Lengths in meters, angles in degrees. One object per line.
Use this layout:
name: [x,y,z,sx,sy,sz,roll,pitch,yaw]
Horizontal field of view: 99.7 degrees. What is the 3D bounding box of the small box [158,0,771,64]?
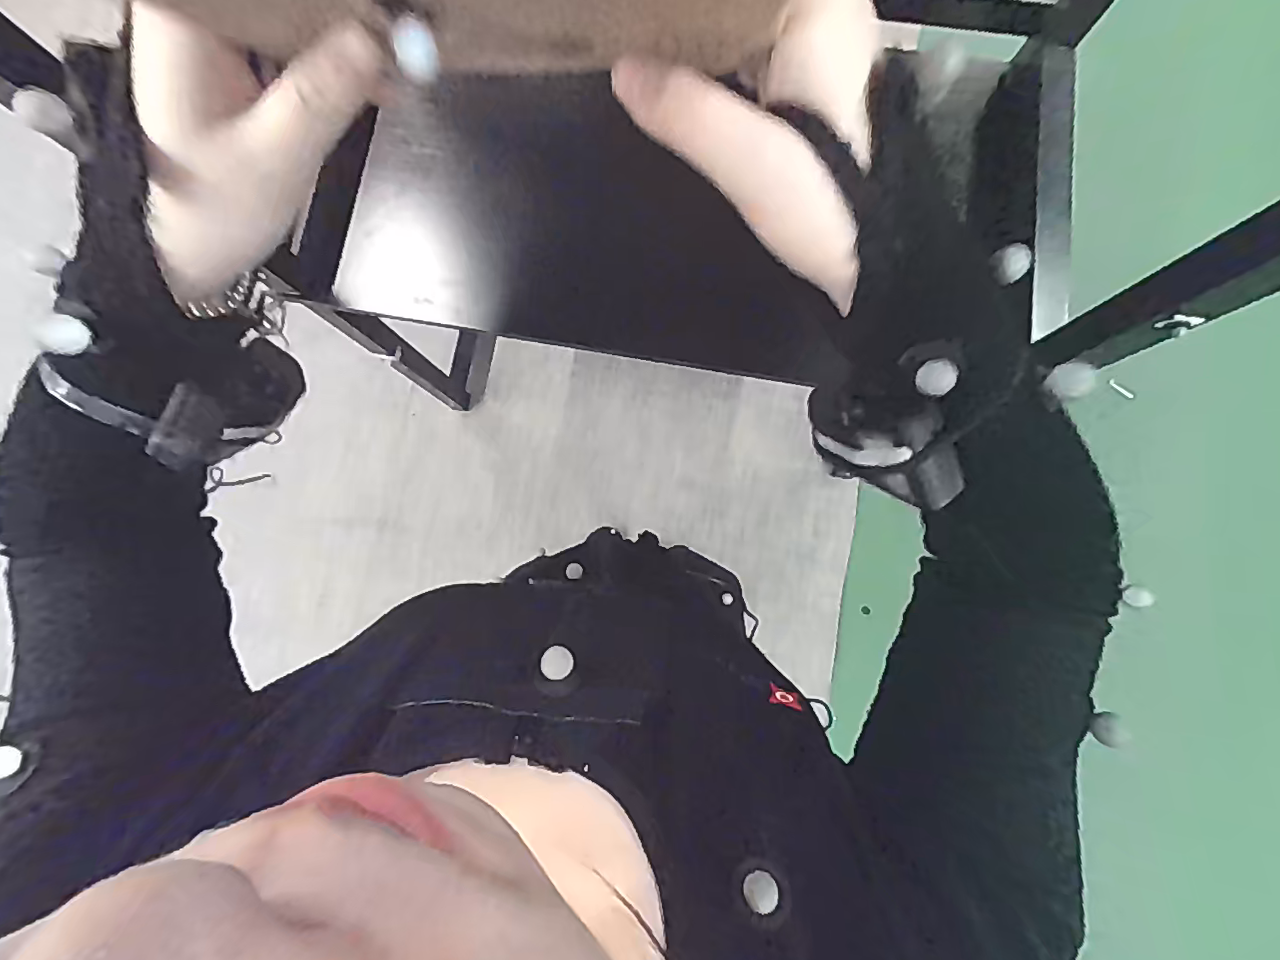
small box: [-0.050,-0.180,0.073,0.168,0.176,0.179,3,120,6]
